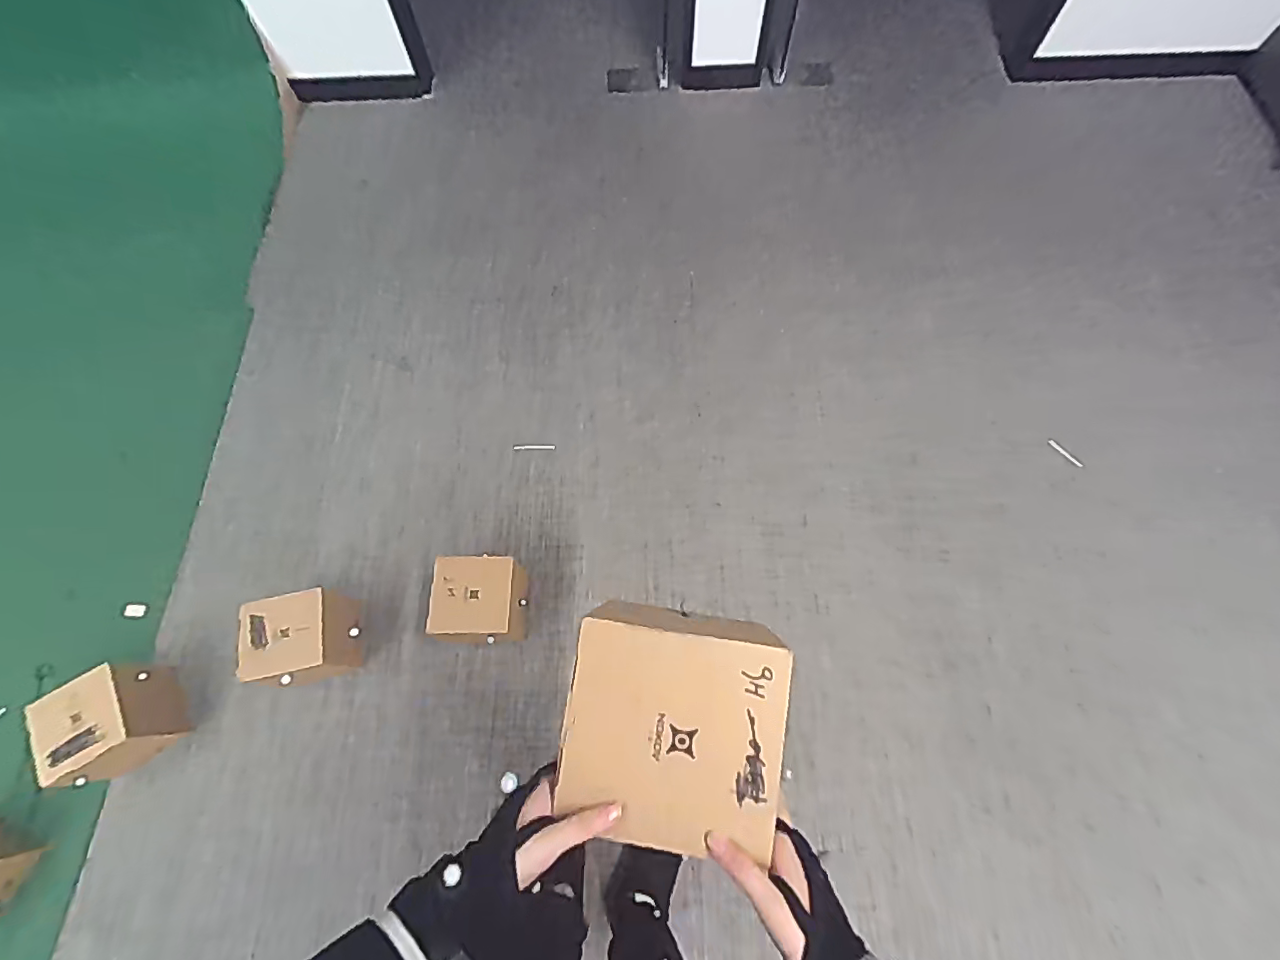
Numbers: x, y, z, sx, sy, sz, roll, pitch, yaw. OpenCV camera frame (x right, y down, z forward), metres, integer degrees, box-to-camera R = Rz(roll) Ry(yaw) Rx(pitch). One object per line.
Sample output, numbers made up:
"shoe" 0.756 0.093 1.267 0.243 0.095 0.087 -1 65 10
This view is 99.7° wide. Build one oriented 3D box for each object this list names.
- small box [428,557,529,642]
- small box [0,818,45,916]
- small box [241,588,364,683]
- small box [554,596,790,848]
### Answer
"small box" -0.358 0.276 1.239 0.179 0.176 0.168 0 68 1
"small box" -1.362 0.786 1.055 0.179 0.176 0.168 22 70 9
"small box" -0.748 0.354 1.214 0.179 0.176 0.168 -12 69 -4
"small box" 0.035 0.207 0.519 0.179 0.176 0.168 7 83 7
